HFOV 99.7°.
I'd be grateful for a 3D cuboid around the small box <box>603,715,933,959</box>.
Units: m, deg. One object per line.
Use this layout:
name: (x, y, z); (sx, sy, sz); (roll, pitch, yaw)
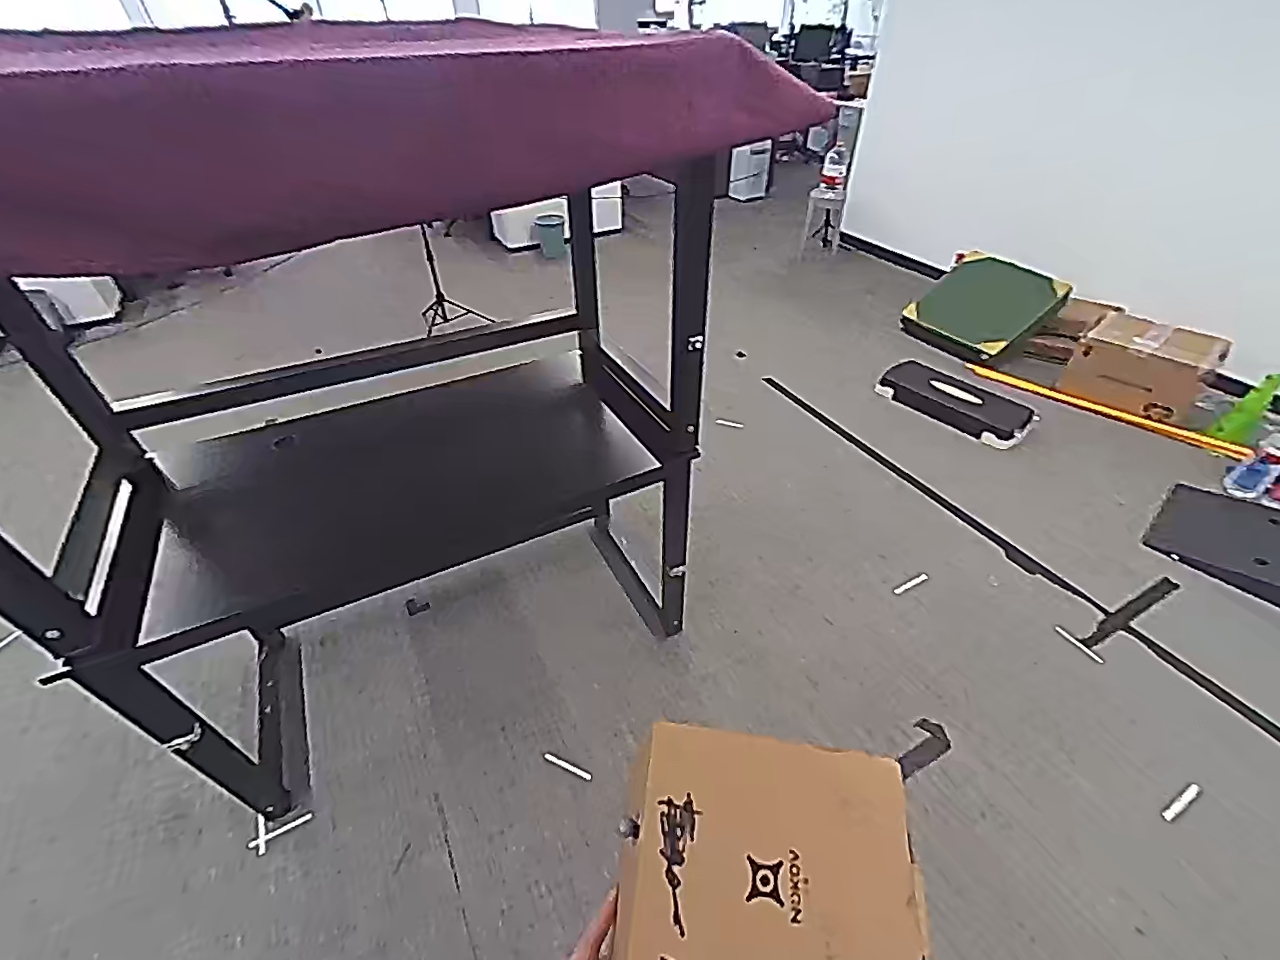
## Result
small box: (0.076, 0.286, 0.387); (0.179, 0.176, 0.168); (10, 53, -1)
